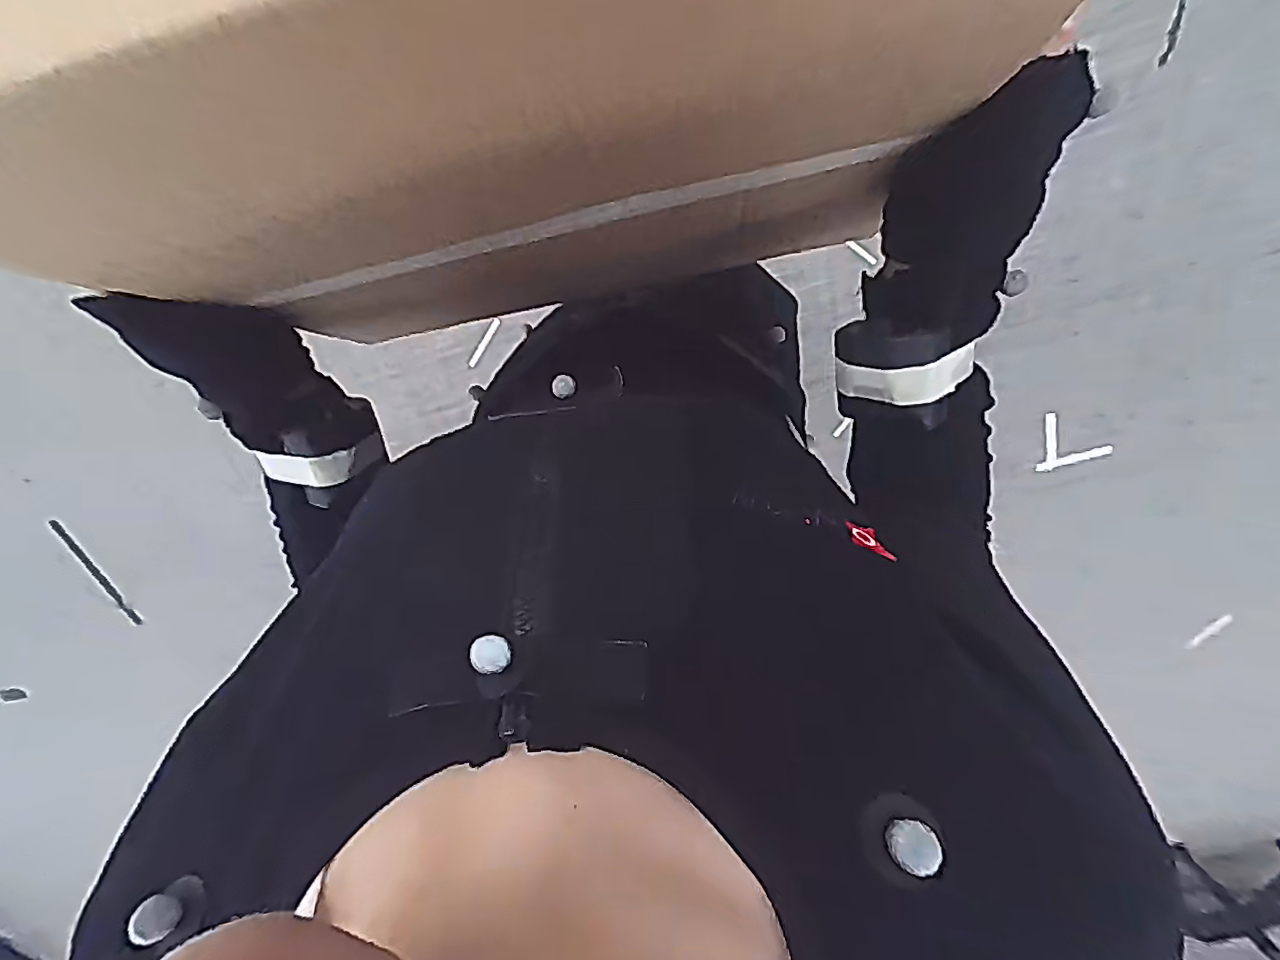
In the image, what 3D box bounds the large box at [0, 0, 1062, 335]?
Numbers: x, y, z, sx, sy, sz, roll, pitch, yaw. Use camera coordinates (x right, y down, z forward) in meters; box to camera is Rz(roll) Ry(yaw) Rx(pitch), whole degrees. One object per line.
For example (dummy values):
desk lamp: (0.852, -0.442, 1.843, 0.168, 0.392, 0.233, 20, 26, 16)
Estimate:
large box: (-0.073, -0.285, 0.264, 0.408, 0.320, 0.320, -9, 96, 8)
